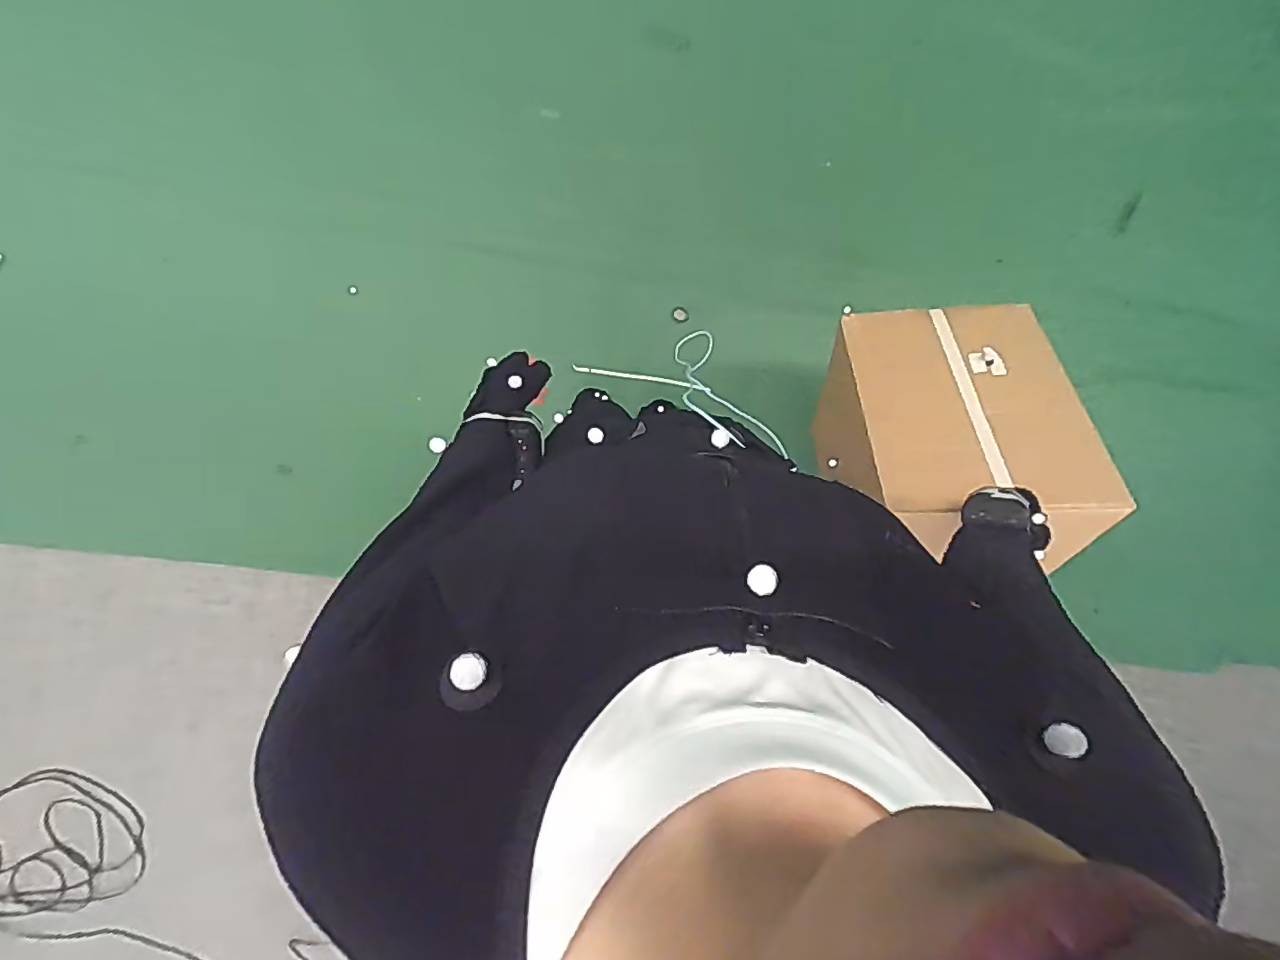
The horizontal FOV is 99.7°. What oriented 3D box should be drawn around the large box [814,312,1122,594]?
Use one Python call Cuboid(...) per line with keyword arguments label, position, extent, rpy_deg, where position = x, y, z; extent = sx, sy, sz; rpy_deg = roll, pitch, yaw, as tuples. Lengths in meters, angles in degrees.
Cuboid(label="large box", position=(0.516, -0.040, 0.967), extent=(0.320, 0.320, 0.408), rpy_deg=(-1, 56, 5))
